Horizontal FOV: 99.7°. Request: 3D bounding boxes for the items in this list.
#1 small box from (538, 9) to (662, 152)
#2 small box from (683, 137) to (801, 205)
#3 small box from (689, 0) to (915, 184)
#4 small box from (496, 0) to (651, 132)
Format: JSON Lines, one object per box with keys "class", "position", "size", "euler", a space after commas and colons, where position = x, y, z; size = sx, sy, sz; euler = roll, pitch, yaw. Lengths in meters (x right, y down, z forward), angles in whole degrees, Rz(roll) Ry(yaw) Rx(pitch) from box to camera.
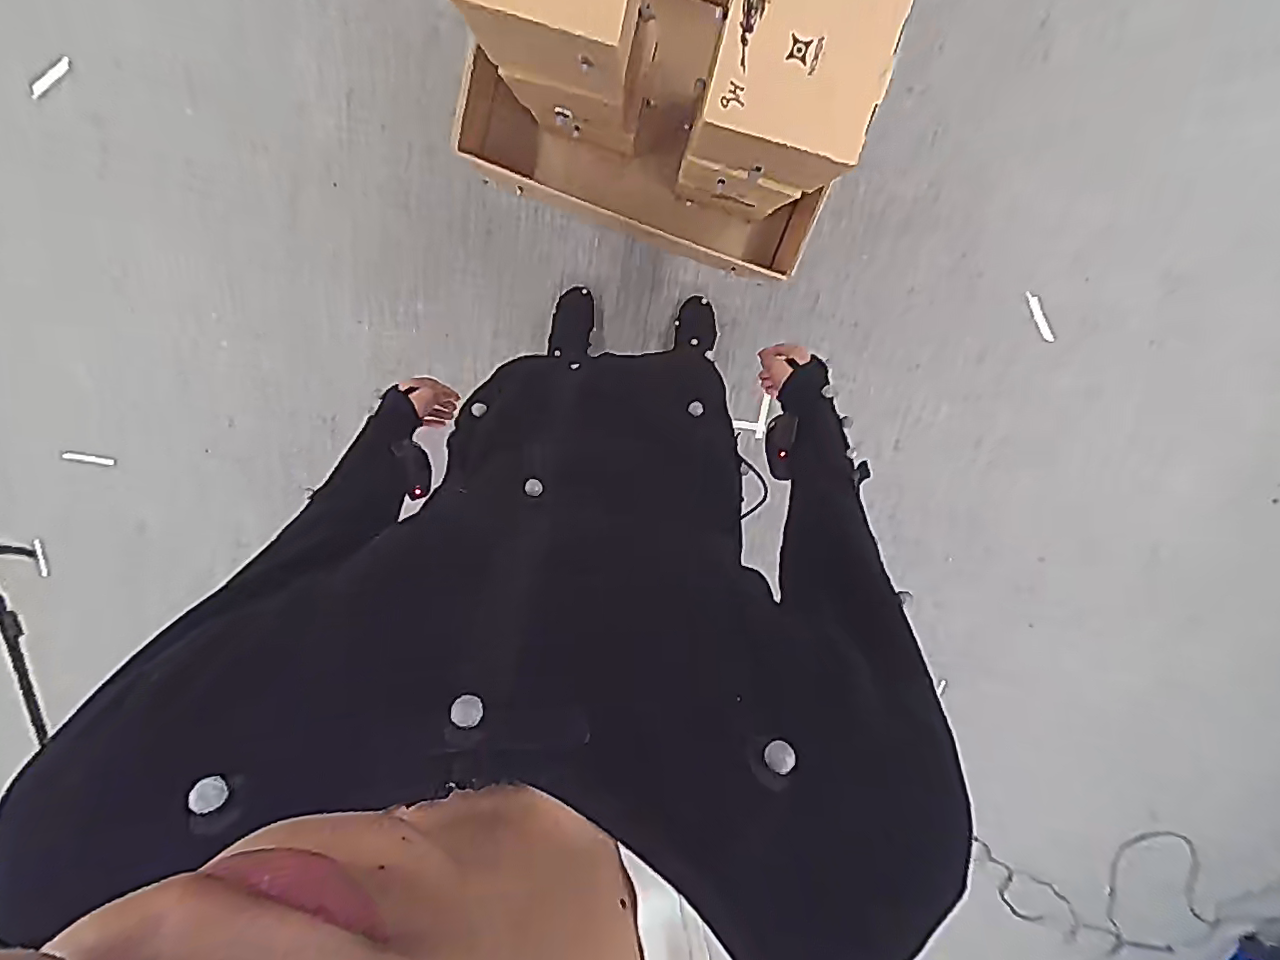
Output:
{"class": "small box", "position": [-0.072, -0.666, 0.890], "size": [0.179, 0.176, 0.168], "euler": [15, 111, -6]}
{"class": "small box", "position": [0.164, -0.514, 0.774], "size": [0.168, 0.176, 0.179], "euler": [16, 109, -6]}
{"class": "small box", "position": [0.167, -0.458, 0.620], "size": [0.179, 0.176, 0.168], "euler": [14, 109, -6]}
{"class": "small box", "position": [-0.082, -0.611, 0.735], "size": [0.168, 0.176, 0.179], "euler": [14, 110, -4]}
